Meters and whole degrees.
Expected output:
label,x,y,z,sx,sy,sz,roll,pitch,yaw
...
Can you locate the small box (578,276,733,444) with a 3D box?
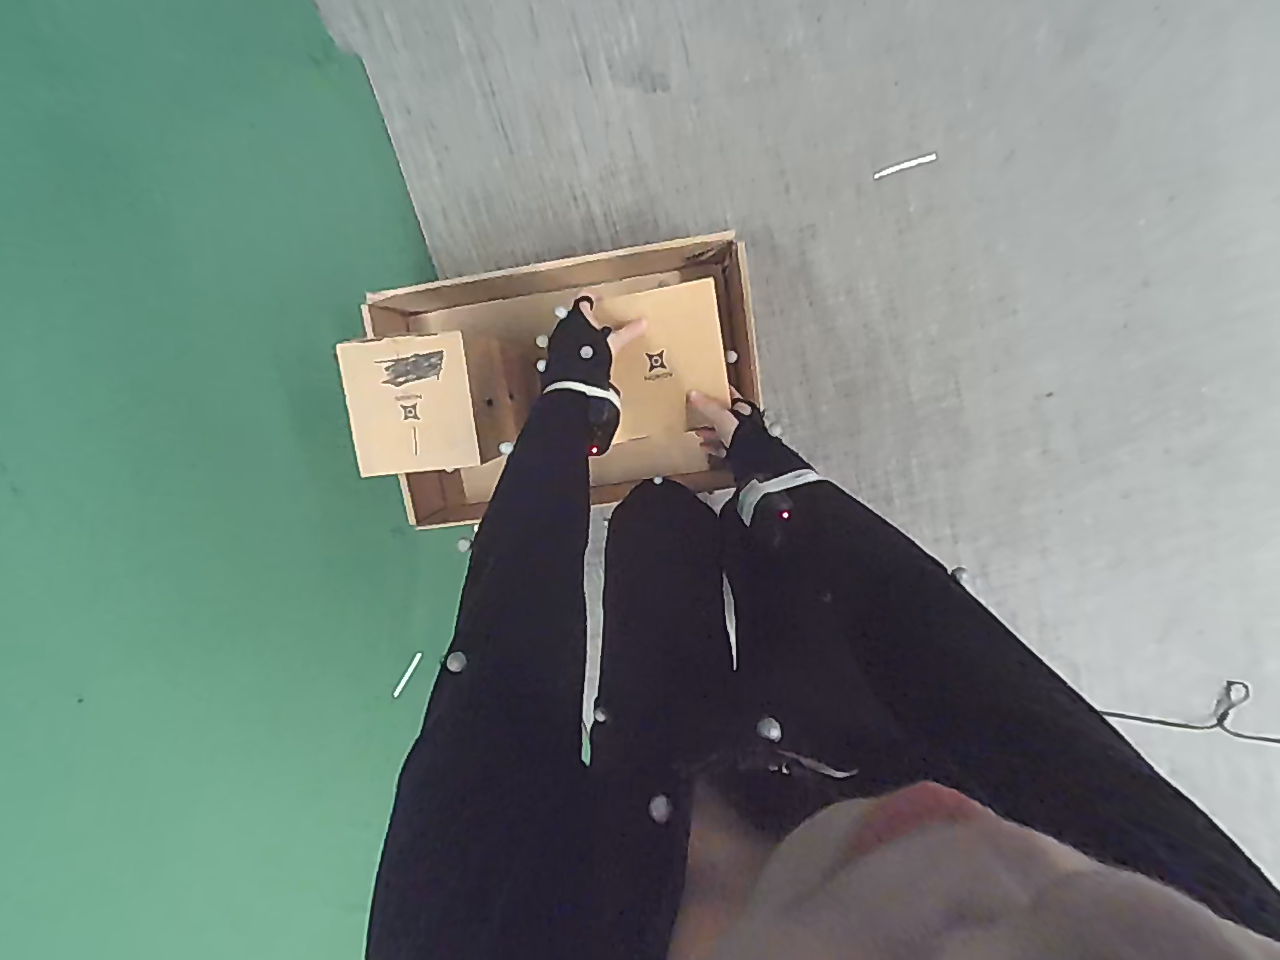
label,x,y,z,sx,sy,sz,roll,pitch,yaw
small box,0.025,-0.160,0.723,0.168,0.176,0.179,-9,106,7
